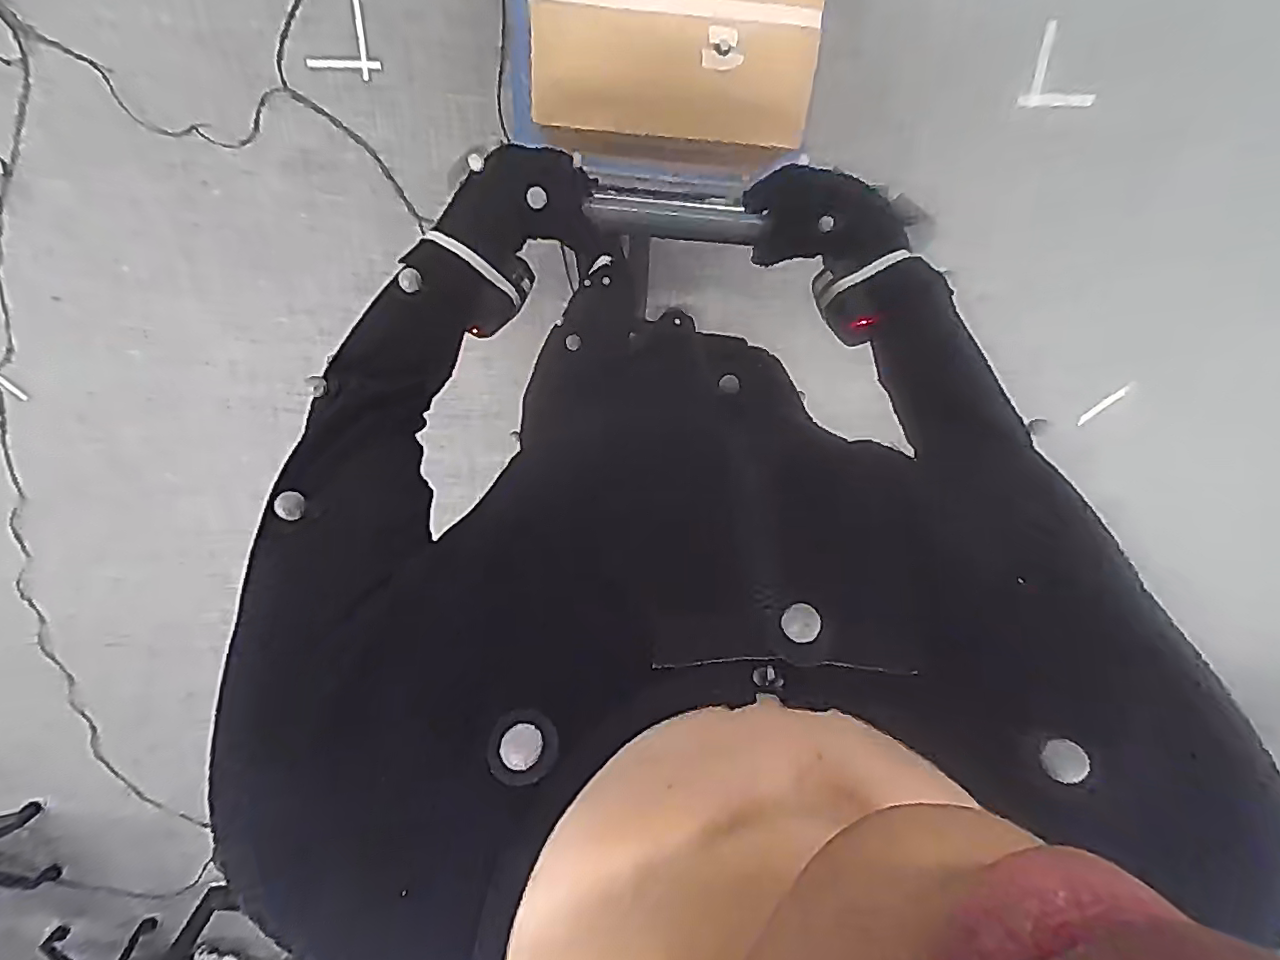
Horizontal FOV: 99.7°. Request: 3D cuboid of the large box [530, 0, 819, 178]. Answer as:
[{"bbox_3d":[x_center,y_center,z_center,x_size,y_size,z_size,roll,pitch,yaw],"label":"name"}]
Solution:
[{"bbox_3d":[0.038,-0.698,0.881,0.408,0.320,0.320,2,113,-5],"label":"large box"}]
